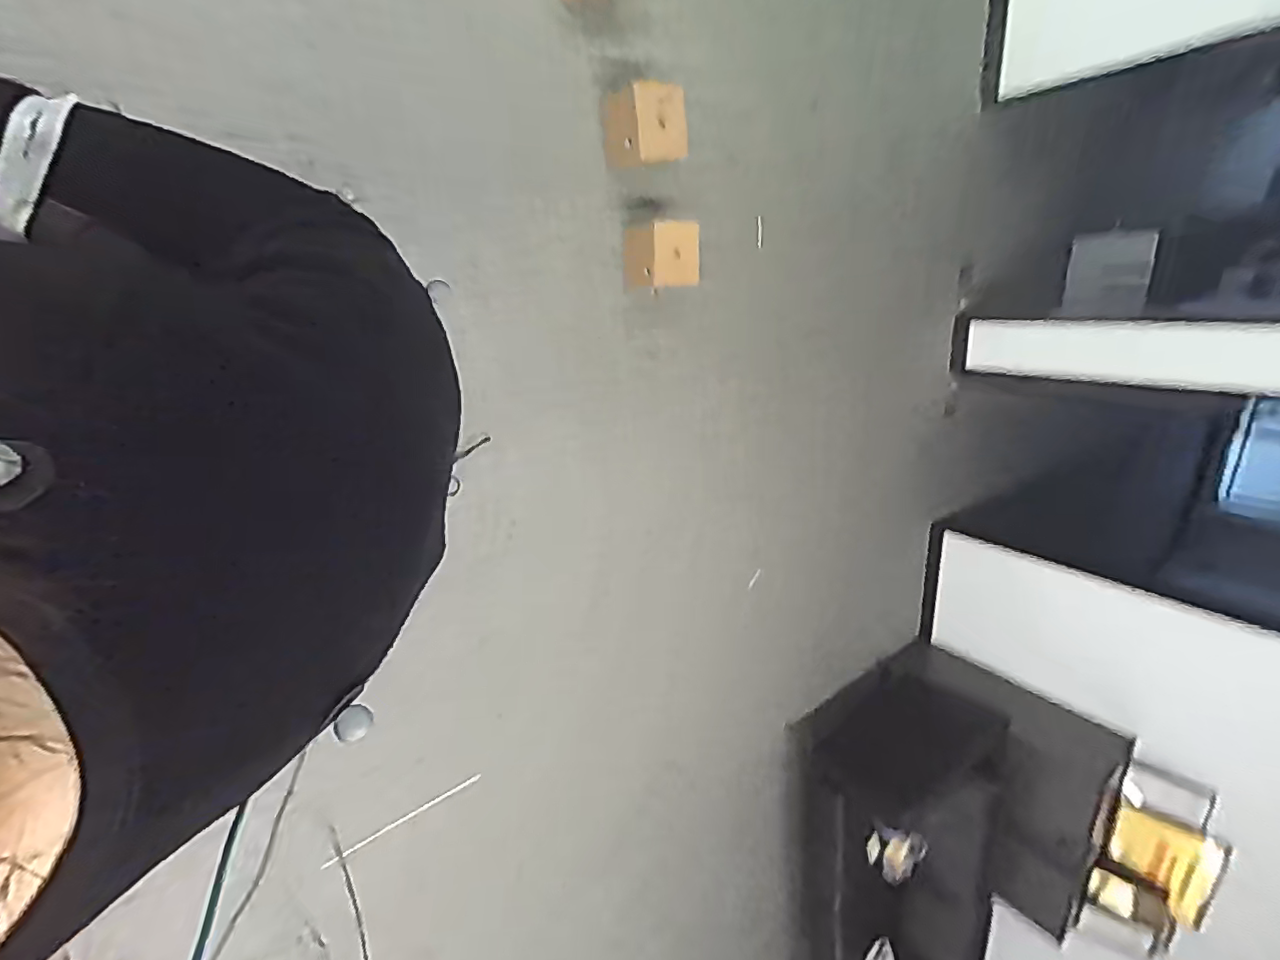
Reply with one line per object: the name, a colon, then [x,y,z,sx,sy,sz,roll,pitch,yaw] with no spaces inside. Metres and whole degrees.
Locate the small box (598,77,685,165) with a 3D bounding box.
small box: [0.003,-0.975,1.486,0.168,0.176,0.179,-21,117,-30]

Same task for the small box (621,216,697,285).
small box: [0.054,-0.682,1.621,0.168,0.176,0.179,-15,114,-32]
